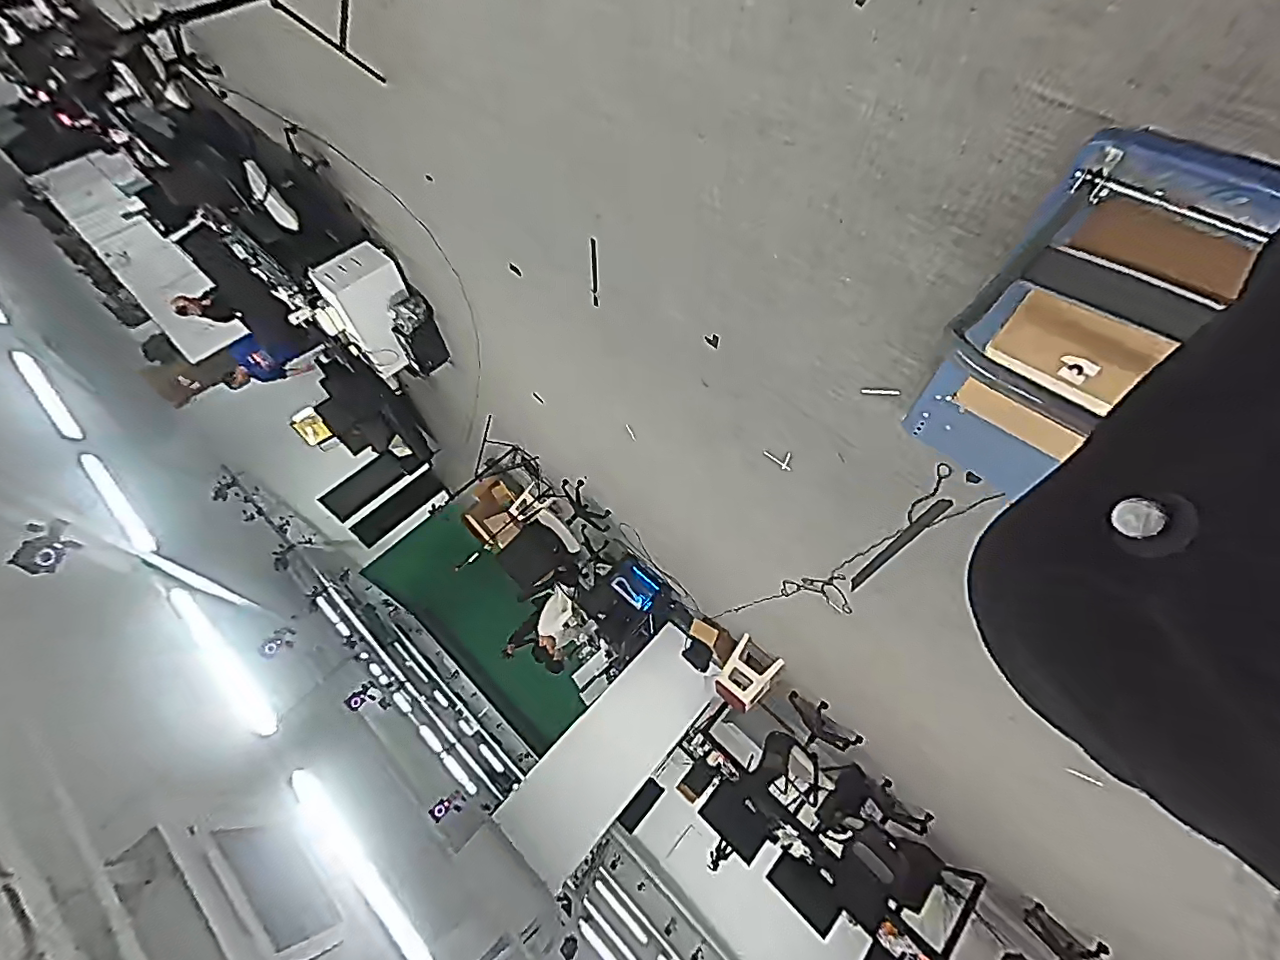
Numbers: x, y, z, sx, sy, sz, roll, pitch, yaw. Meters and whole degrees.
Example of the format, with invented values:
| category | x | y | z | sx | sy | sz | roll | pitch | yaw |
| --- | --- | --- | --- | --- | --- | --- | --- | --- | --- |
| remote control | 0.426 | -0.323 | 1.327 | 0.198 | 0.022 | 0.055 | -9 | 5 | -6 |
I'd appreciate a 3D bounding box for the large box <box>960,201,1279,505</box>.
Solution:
| category | x | y | z | sx | sy | sz | roll | pitch | yaw |
| --- | --- | --- | --- | --- | --- | --- | --- | --- | --- |
| large box | 0.918 | -0.236 | 0.994 | 0.408 | 0.320 | 0.320 | 39 | 156 | 22 |
